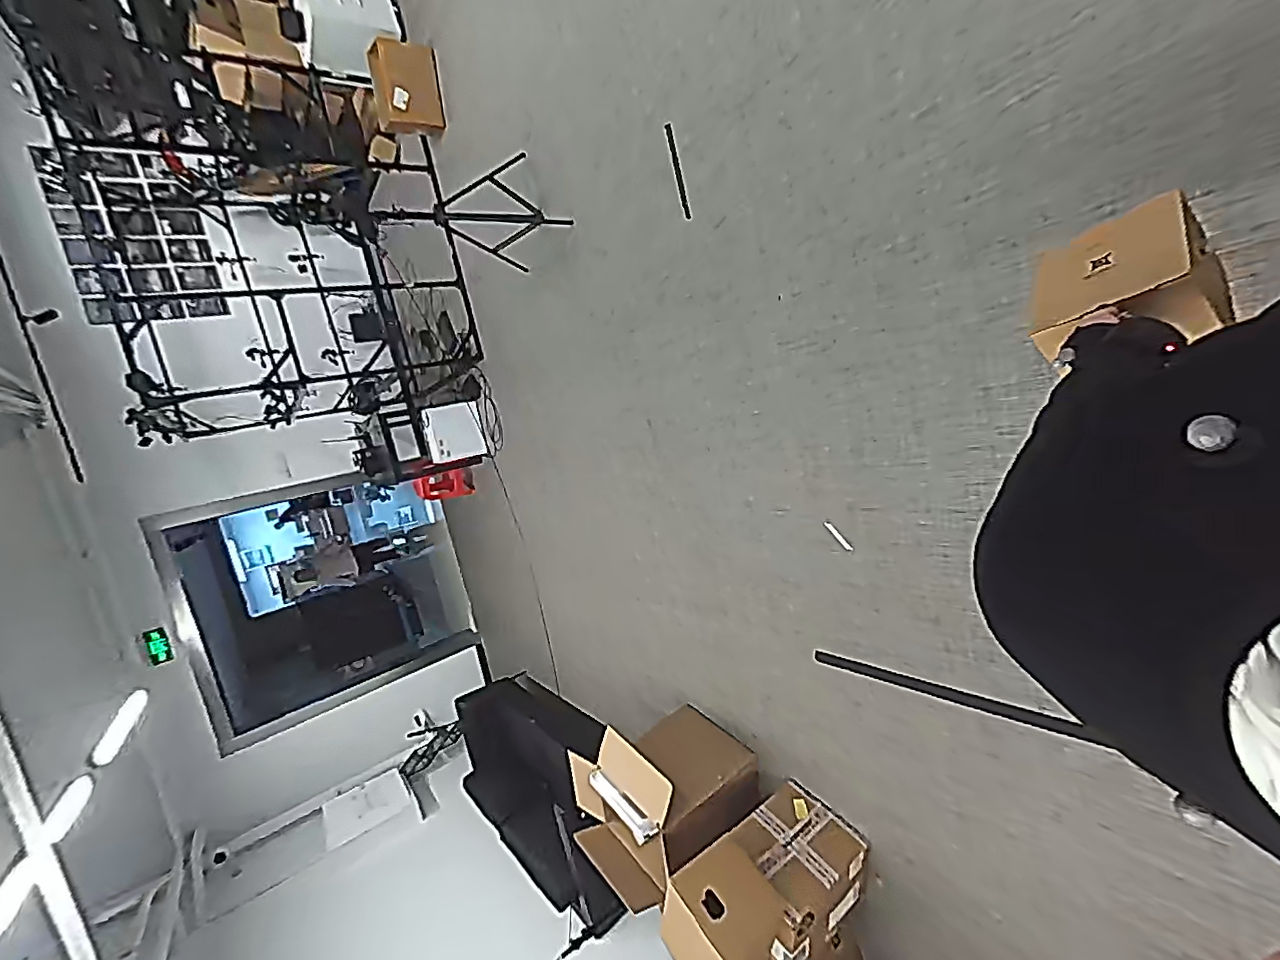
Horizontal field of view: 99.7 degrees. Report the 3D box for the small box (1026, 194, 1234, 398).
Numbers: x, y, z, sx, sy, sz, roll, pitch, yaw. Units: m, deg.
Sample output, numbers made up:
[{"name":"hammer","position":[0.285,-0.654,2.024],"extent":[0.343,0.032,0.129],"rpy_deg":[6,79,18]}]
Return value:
[{"name":"small box","position":[0.664,-0.234,0.741],"extent":[0.176,0.179,0.168],"rpy_deg":[37,150,-22]}]
